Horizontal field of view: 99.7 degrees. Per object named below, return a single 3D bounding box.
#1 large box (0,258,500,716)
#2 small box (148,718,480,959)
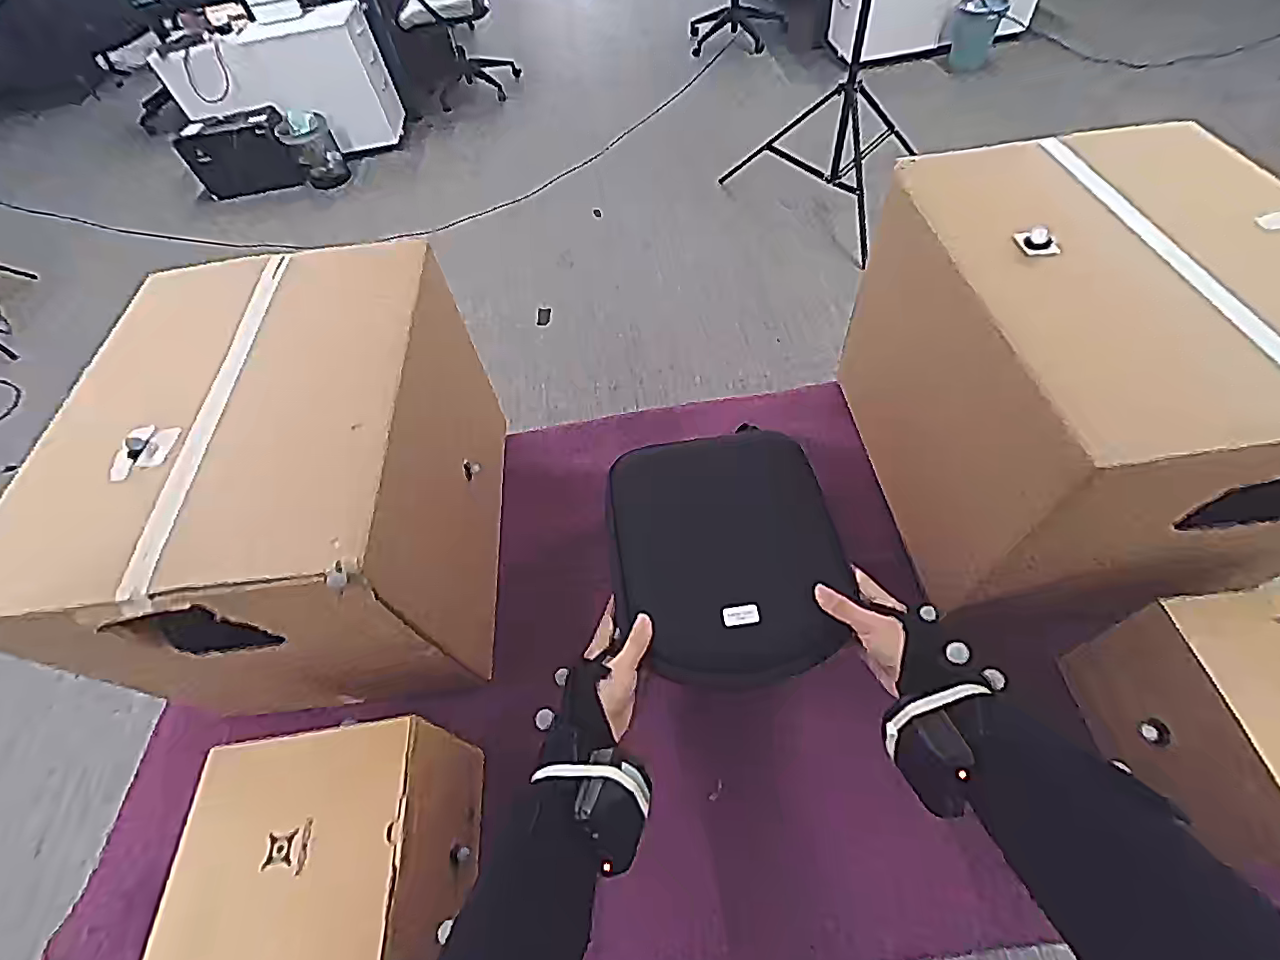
[{"bbox_3d":[-0.354,0.015,0.619,0.320,0.320,0.408,-8,57,1],"label":"large box"},{"bbox_3d":[-0.259,0.328,0.477,0.179,0.176,0.168,-10,53,0],"label":"small box"}]
